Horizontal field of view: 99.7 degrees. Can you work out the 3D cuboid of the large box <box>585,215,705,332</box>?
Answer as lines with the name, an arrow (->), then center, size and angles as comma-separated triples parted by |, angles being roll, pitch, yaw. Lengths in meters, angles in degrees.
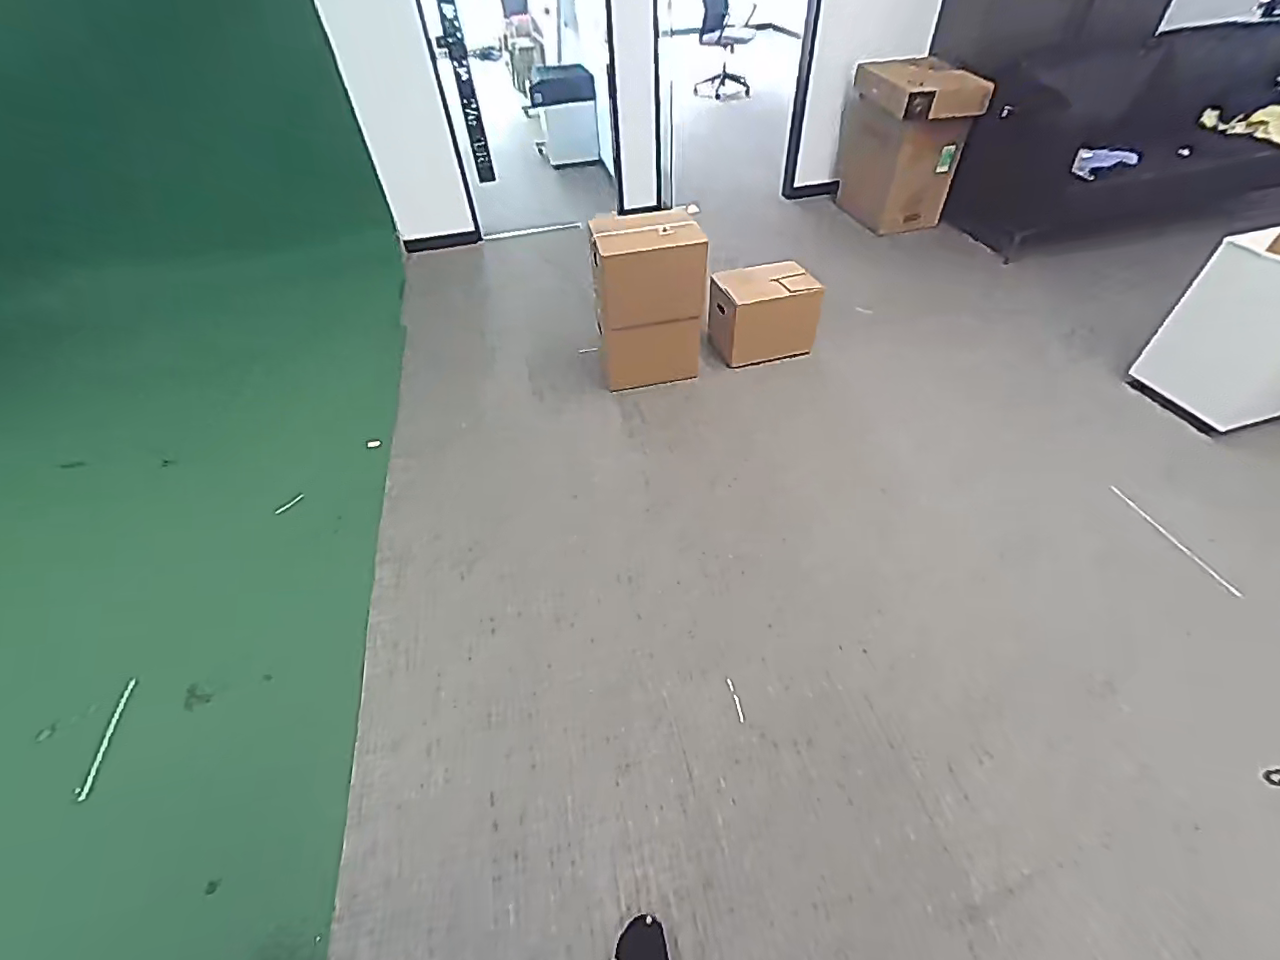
large box -> 0.014, -0.825, 2.154 | 0.408, 0.320, 0.320 | -10, 48, -8
